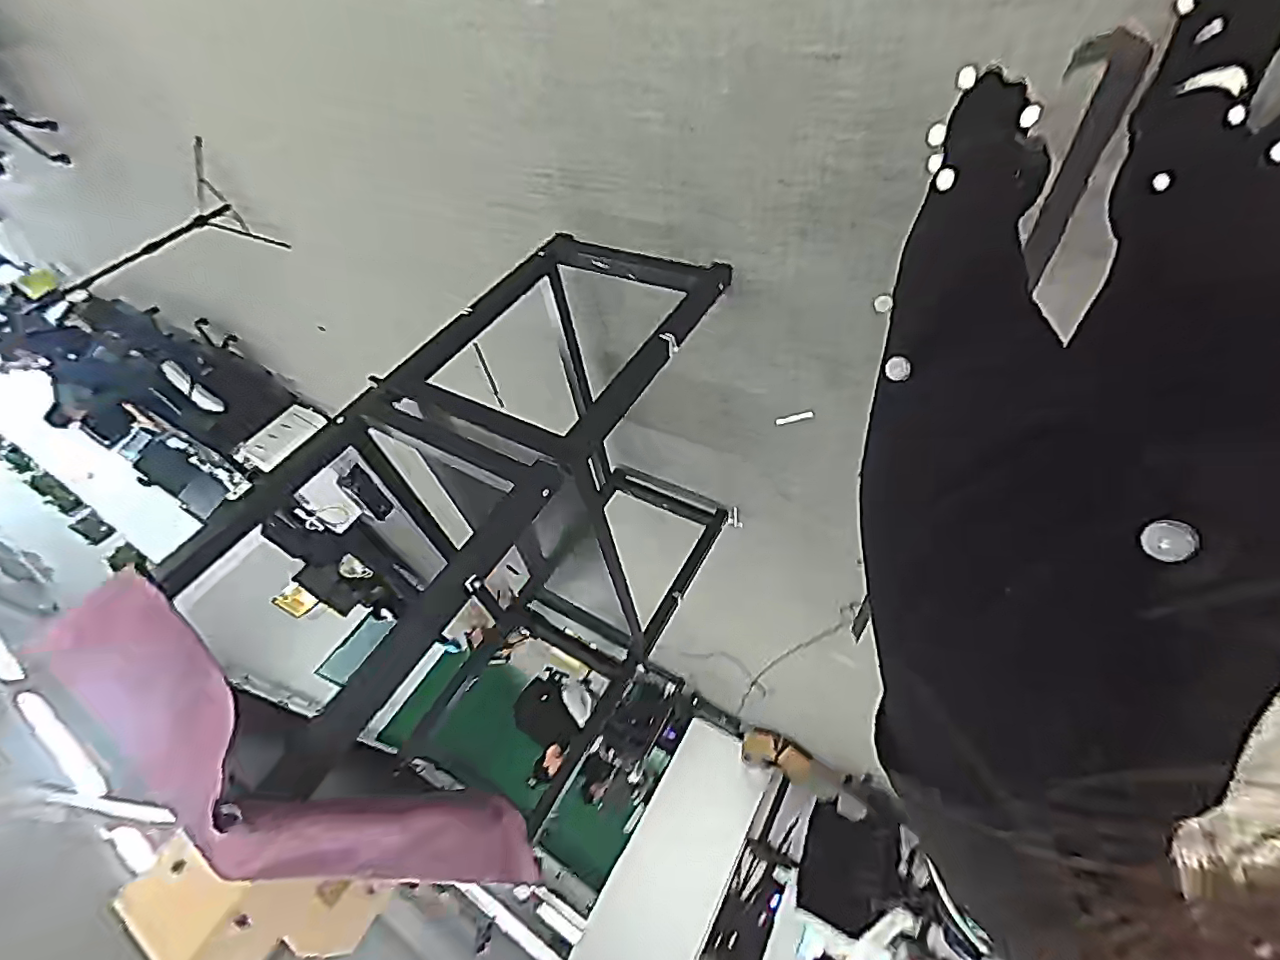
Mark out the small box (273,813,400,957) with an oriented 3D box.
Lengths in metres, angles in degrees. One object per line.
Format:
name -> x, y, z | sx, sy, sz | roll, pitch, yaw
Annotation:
small box -> -0.621, 0.789, 1.072 | 0.179, 0.176, 0.168 | 22, 149, 25

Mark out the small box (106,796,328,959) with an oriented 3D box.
small box -> -0.643, 0.623, 0.845 | 0.168, 0.176, 0.179 | 24, 151, 23
